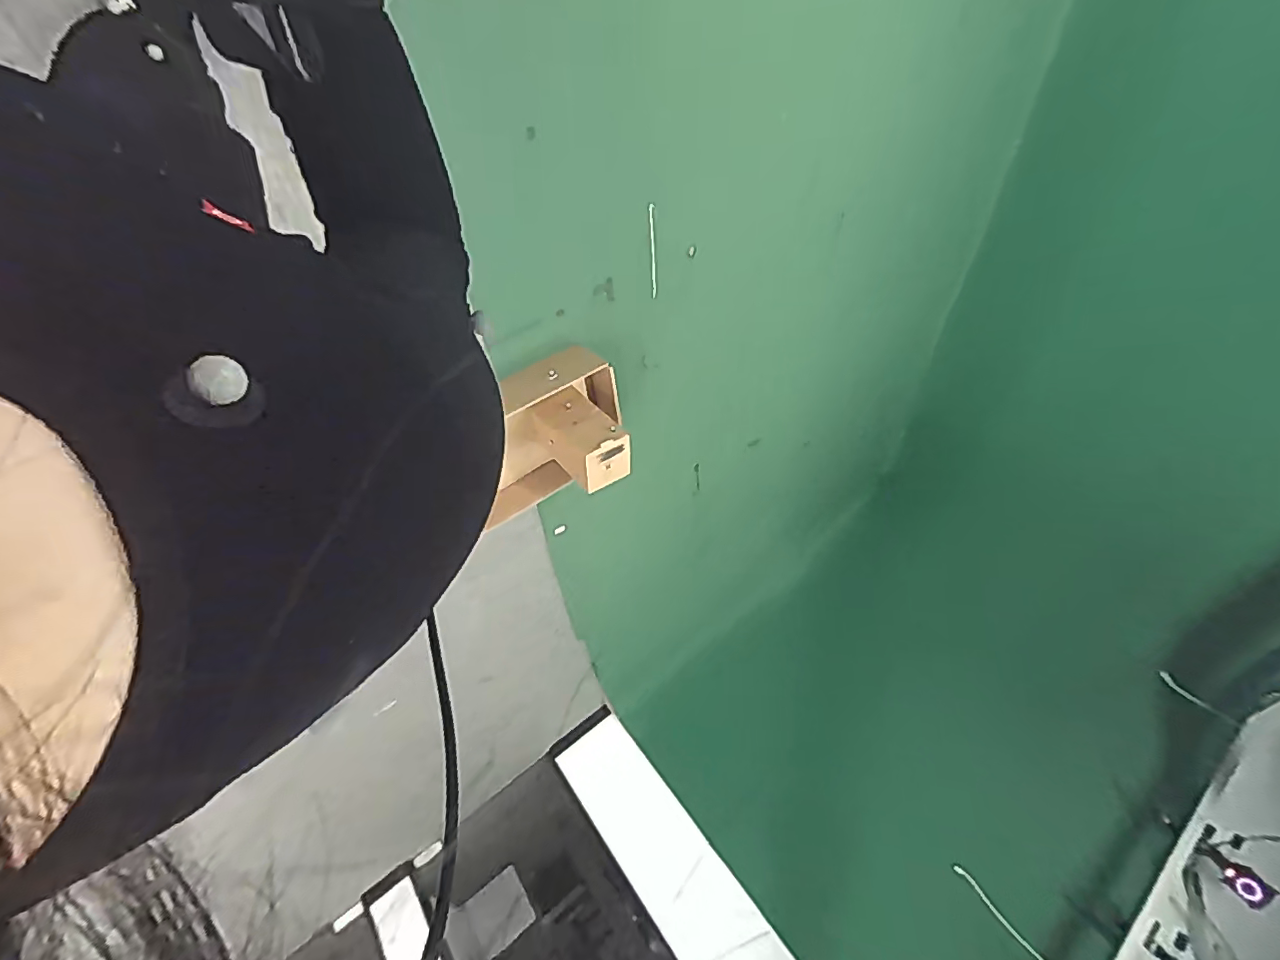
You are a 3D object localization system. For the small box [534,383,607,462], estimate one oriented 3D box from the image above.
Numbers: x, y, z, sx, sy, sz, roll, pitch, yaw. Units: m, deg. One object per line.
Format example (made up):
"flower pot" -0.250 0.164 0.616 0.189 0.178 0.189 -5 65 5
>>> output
"small box" -0.235 -0.201 1.838 0.179 0.176 0.168 -31 142 -21
